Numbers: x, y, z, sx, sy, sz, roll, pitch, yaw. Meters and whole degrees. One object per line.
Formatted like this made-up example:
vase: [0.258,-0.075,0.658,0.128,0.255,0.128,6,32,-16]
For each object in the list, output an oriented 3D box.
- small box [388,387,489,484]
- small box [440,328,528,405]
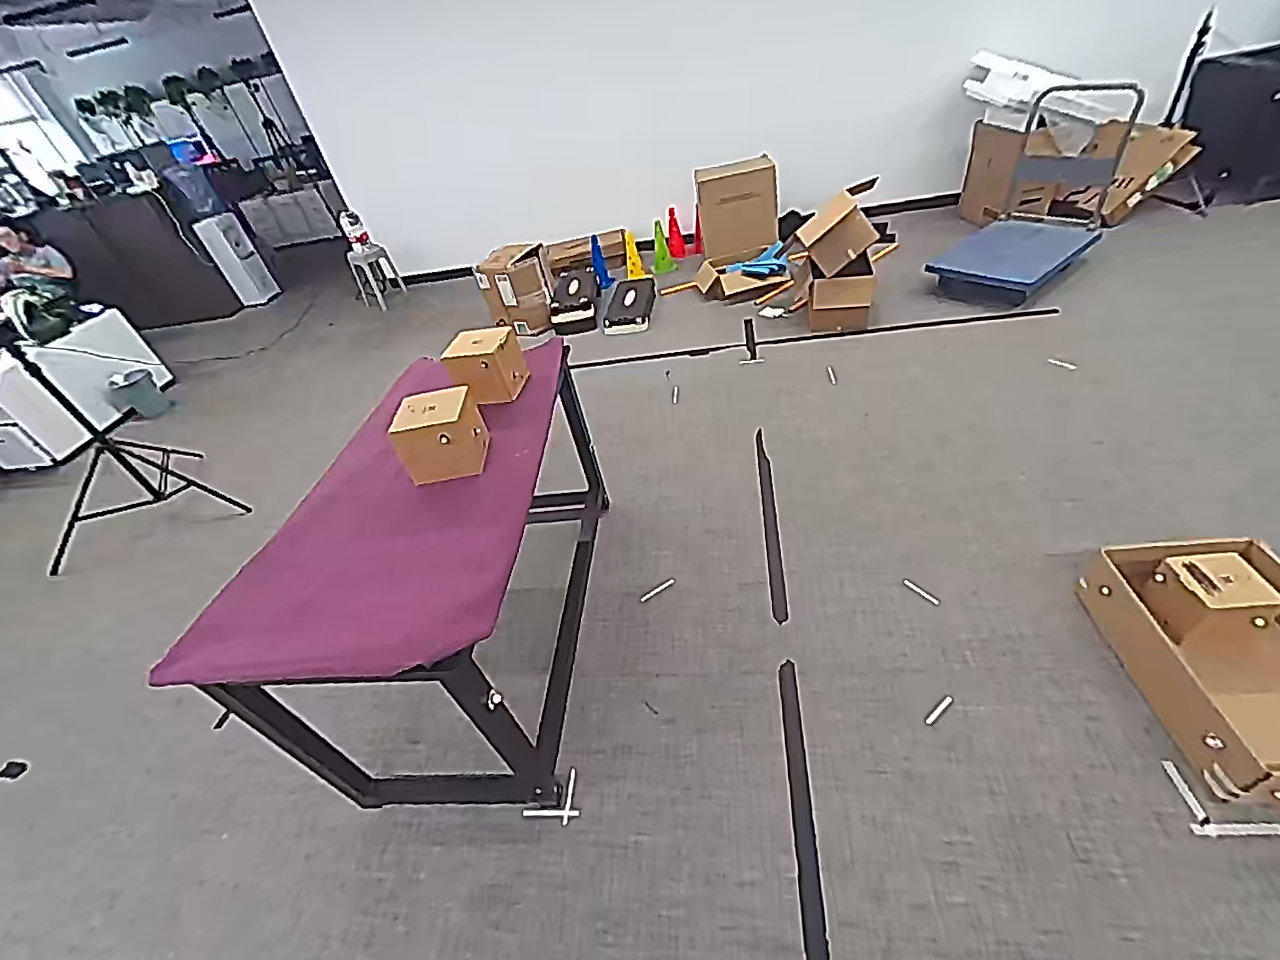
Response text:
small box: [-0.505,-0.112,1.388,0.179,0.176,0.168,-11,40,3]
small box: [-0.466,-0.341,1.643,0.179,0.176,0.168,-3,41,14]
